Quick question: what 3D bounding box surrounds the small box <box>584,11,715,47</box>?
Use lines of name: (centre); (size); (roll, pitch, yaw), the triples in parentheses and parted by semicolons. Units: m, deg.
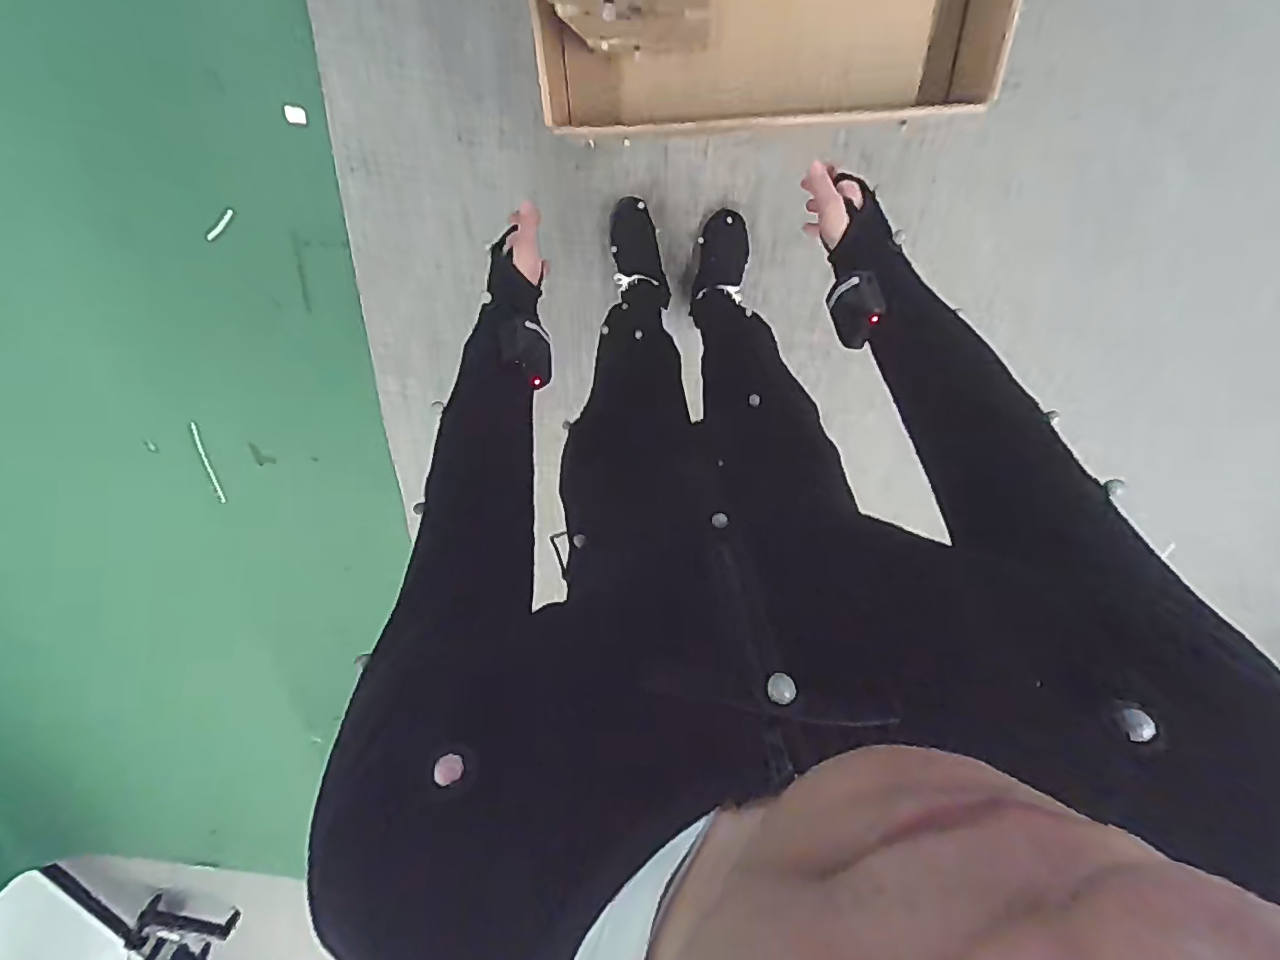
small box: (0.016, -0.676, 0.695); (0.168, 0.176, 0.179); (1, 122, 5)

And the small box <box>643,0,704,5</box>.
small box: (-0.010, -0.504, 0.418); (0.168, 0.176, 0.179); (5, 123, 2)

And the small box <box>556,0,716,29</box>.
small box: (0.005, -0.589, 0.557); (0.168, 0.176, 0.179); (3, 122, 3)

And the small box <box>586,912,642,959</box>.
small box: (-0.081, 1.547, 1.762); (0.168, 0.176, 0.179); (0, 123, 4)
